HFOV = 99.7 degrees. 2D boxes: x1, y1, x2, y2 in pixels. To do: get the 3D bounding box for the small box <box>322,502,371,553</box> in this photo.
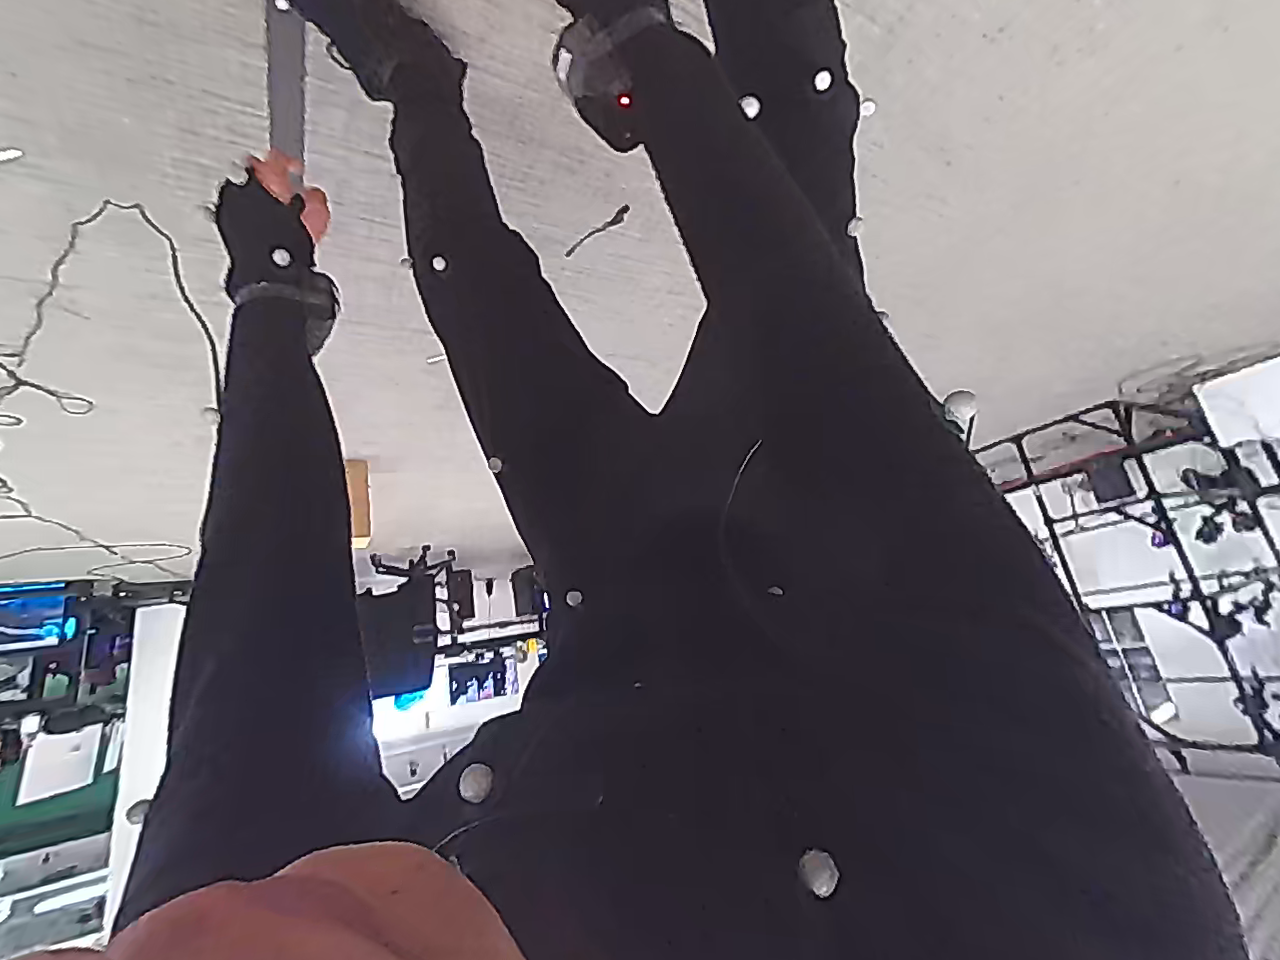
[{"bbox_3d":[-1.212,0.195,2.227,0.168,0.176,0.179,1,160,-34],"label":"small box"}]
